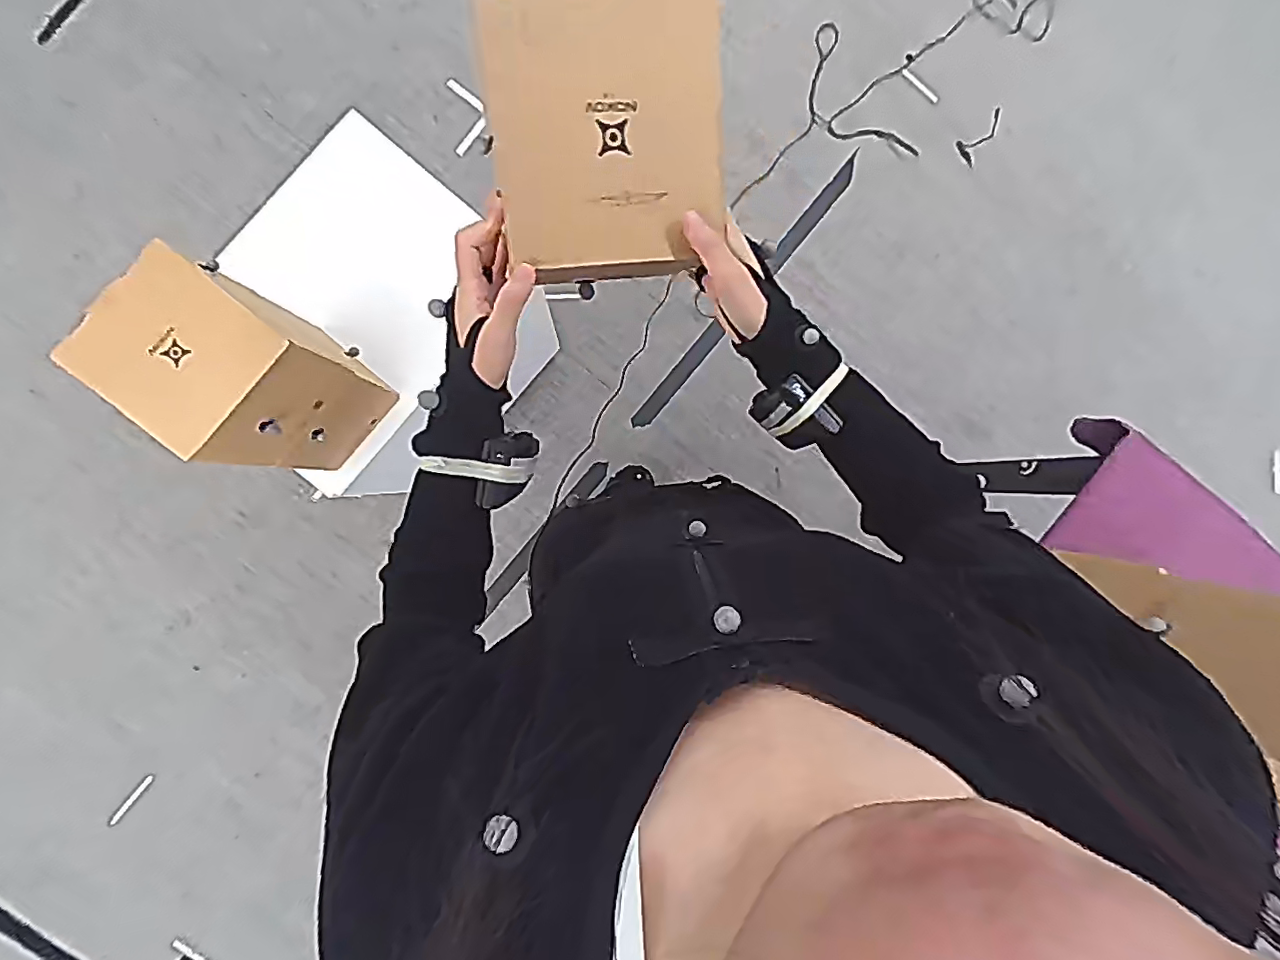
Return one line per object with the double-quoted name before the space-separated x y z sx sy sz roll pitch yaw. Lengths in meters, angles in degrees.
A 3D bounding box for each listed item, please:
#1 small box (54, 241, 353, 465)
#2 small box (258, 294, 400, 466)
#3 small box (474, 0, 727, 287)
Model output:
"small box" -0.485 -0.133 0.637 0.179 0.176 0.168 38 87 -3
"small box" -0.500 -0.132 0.800 0.179 0.176 0.168 40 87 -2
"small box" -0.039 -0.262 0.444 0.168 0.176 0.179 -9 108 -11
